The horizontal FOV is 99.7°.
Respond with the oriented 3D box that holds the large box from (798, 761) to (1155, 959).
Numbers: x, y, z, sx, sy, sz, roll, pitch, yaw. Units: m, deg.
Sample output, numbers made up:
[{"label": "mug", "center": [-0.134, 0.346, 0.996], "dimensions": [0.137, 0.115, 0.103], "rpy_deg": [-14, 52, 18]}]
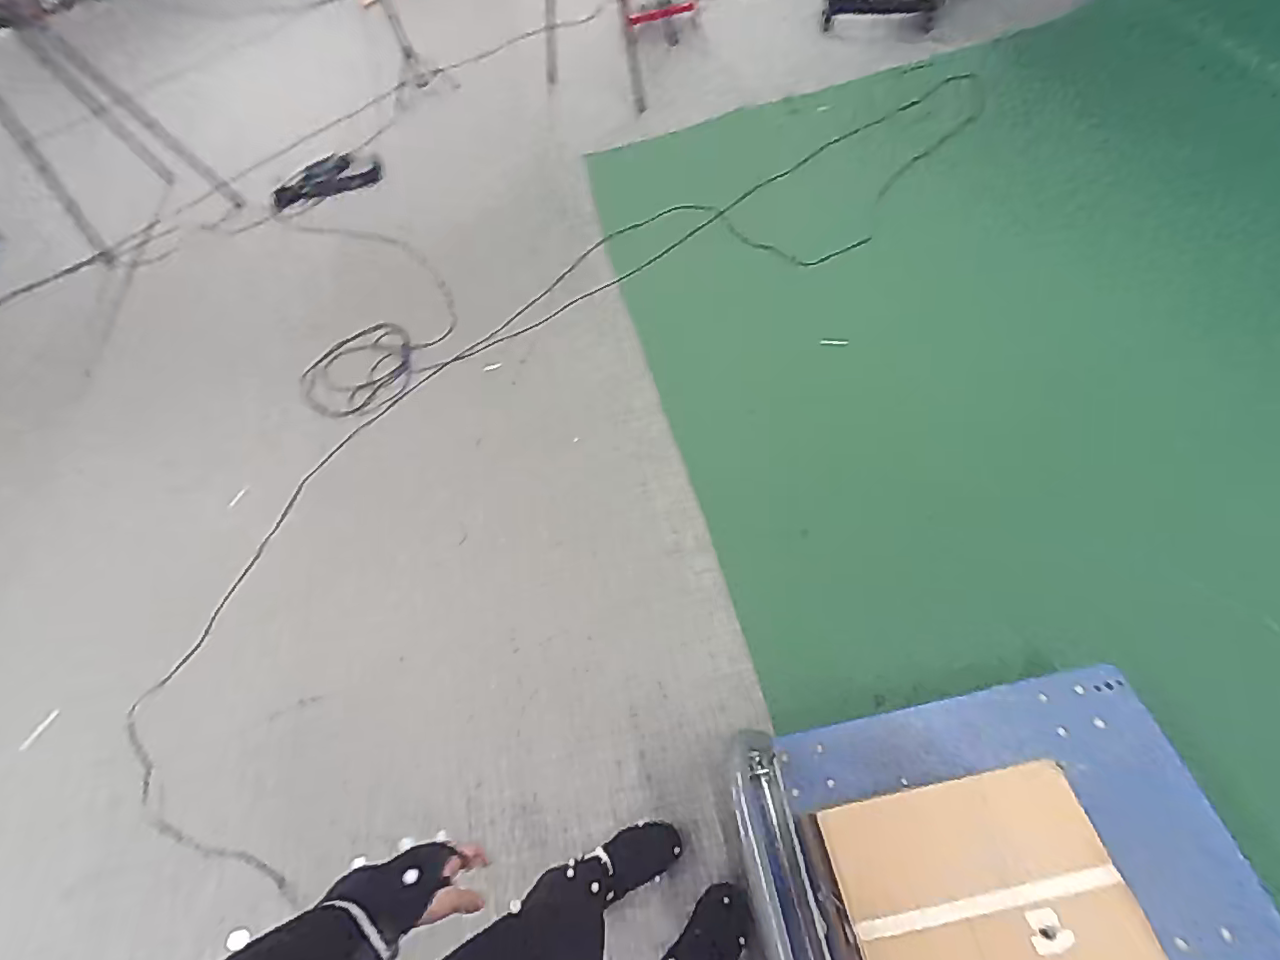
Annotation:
[{"label": "large box", "center": [0.531, 0.719, 0.940], "dimensions": [0.408, 0.320, 0.320], "rpy_deg": [-14, 57, 1]}]
